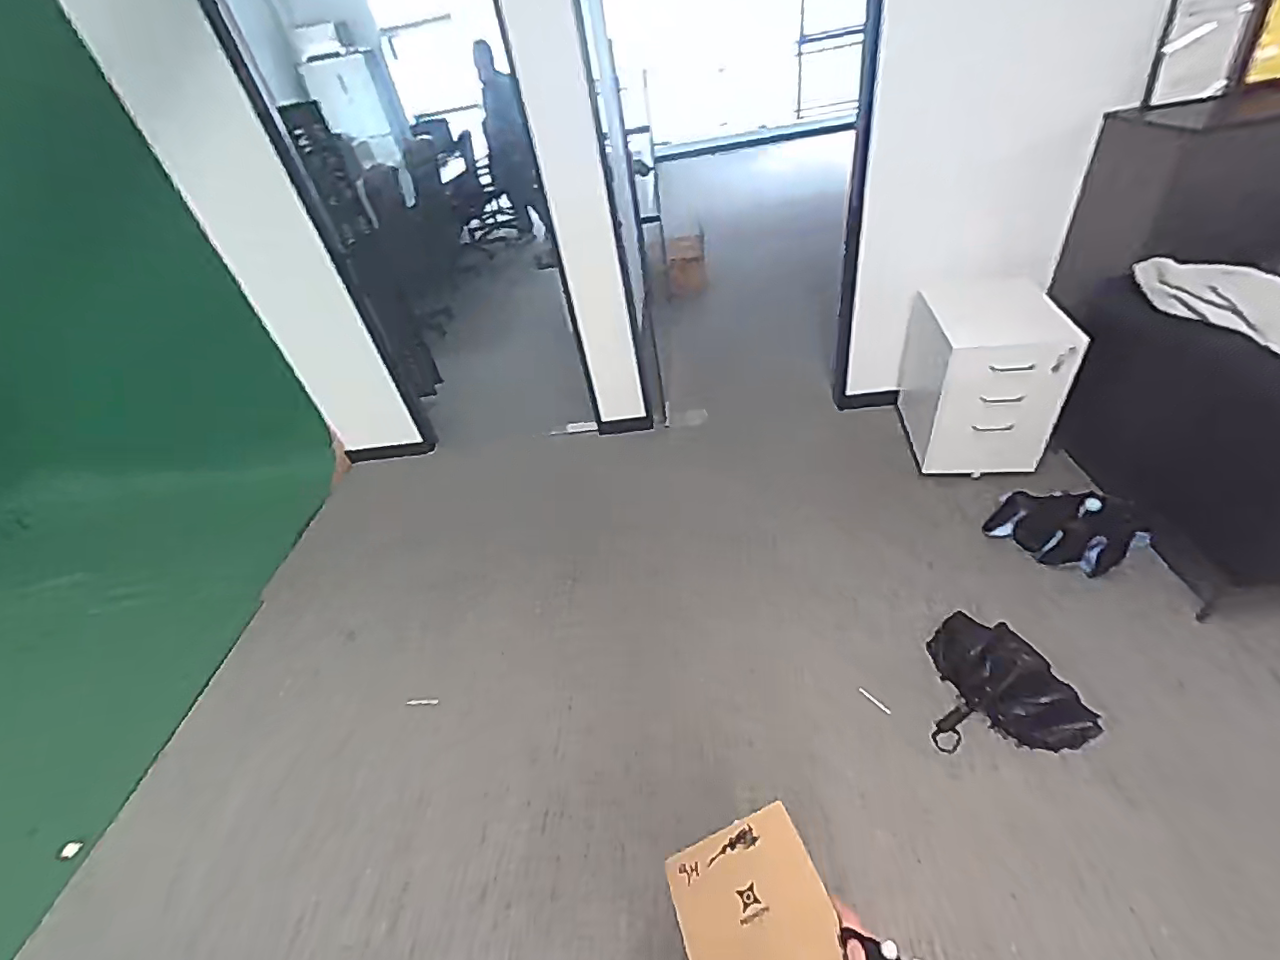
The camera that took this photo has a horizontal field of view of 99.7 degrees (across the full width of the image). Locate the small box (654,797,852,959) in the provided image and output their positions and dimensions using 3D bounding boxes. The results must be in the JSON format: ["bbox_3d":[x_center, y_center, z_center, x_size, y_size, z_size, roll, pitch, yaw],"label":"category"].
[{"bbox_3d":[0.141,0.535,0.645,0.168,0.176,0.179,-27,28,-2],"label":"small box"}]
